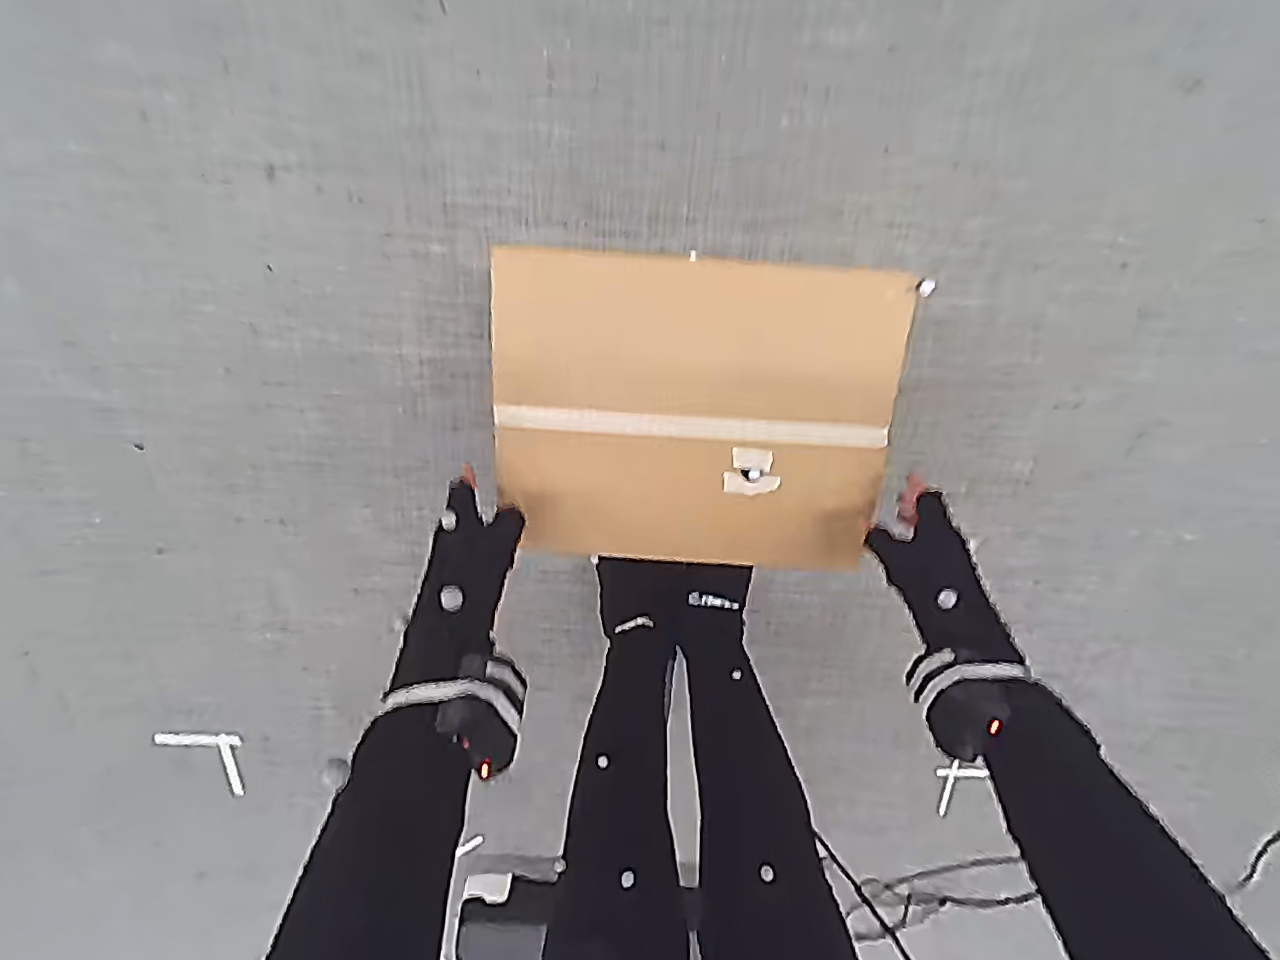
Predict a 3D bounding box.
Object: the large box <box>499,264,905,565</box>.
[{"bbox_3d":[0.054,-0.099,0.710,0.408,0.320,0.320,3,109,-1],"label":"large box"}]
